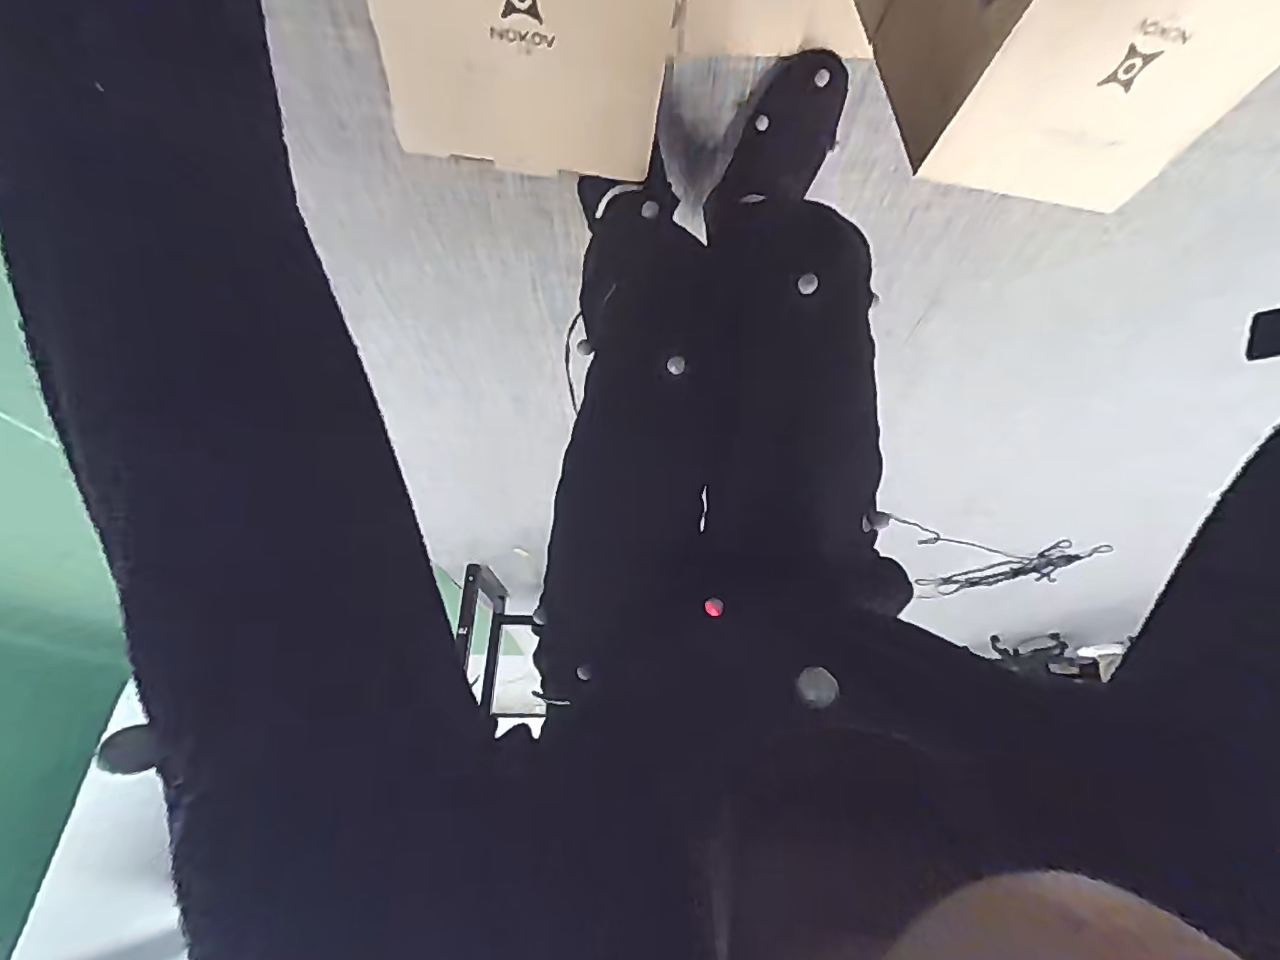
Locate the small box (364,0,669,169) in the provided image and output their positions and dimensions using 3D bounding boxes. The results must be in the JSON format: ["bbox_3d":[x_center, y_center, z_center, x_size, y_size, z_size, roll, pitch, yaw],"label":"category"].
[{"bbox_3d":[-0.066,-0.330,0.323,0.168,0.176,0.179,3,154,-8],"label":"small box"}]

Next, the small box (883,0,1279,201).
[{"bbox_3d":[0.282,-0.320,0.342,0.168,0.176,0.179,5,154,-10],"label":"small box"}]
